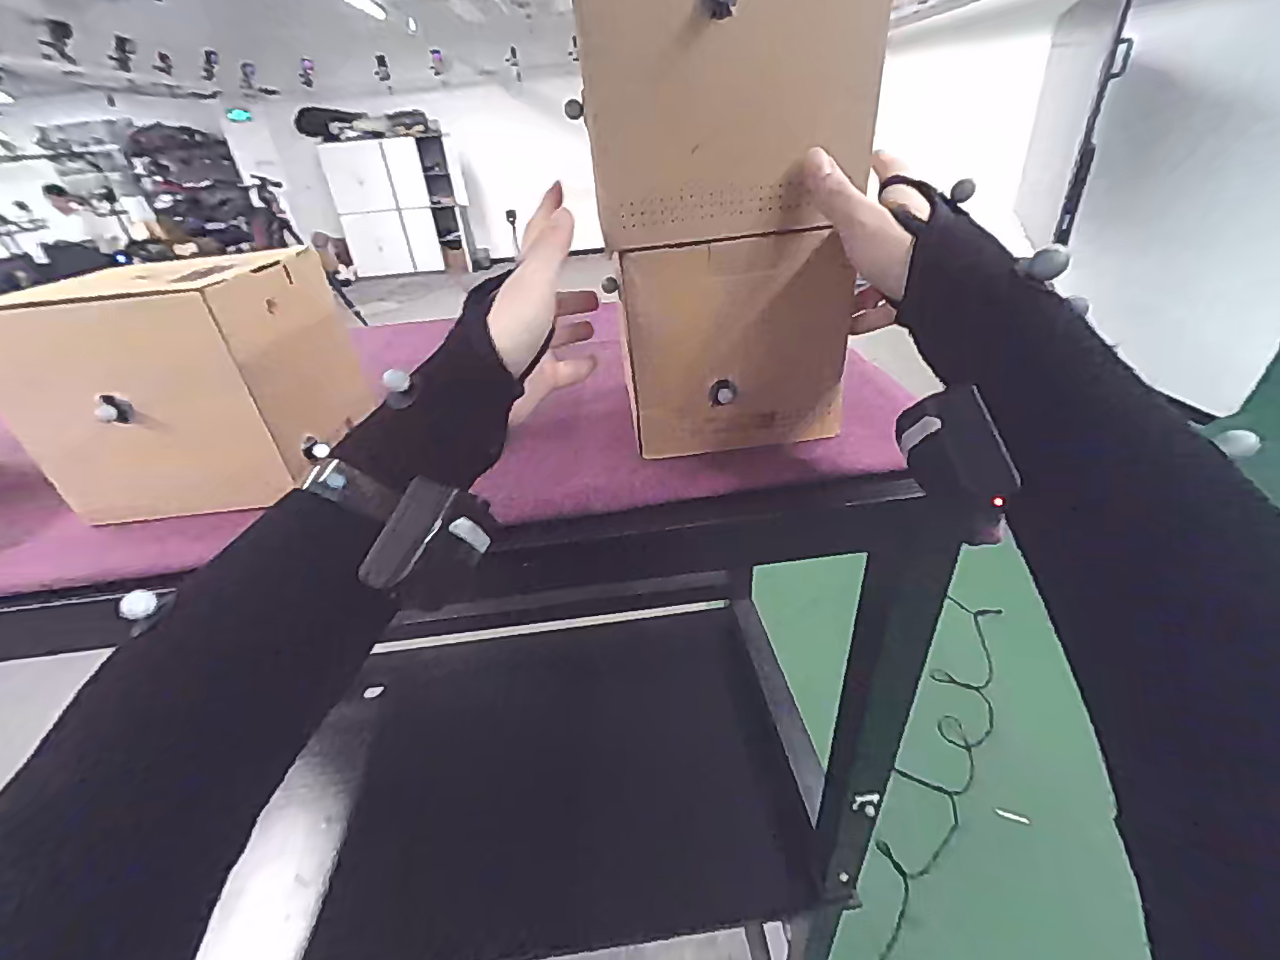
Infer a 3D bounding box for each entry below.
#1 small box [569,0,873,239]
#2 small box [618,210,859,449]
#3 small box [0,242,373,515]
[{"bbox_3d":[0.048,-0.276,0.378,0.179,0.176,0.168,-7,35,-1],"label":"small box"},{"bbox_3d":[0.068,-0.146,0.478,0.168,0.176,0.179,-7,35,-1],"label":"small box"},{"bbox_3d":[-0.358,-0.088,0.455,0.179,0.176,0.168,-7,32,0],"label":"small box"}]
